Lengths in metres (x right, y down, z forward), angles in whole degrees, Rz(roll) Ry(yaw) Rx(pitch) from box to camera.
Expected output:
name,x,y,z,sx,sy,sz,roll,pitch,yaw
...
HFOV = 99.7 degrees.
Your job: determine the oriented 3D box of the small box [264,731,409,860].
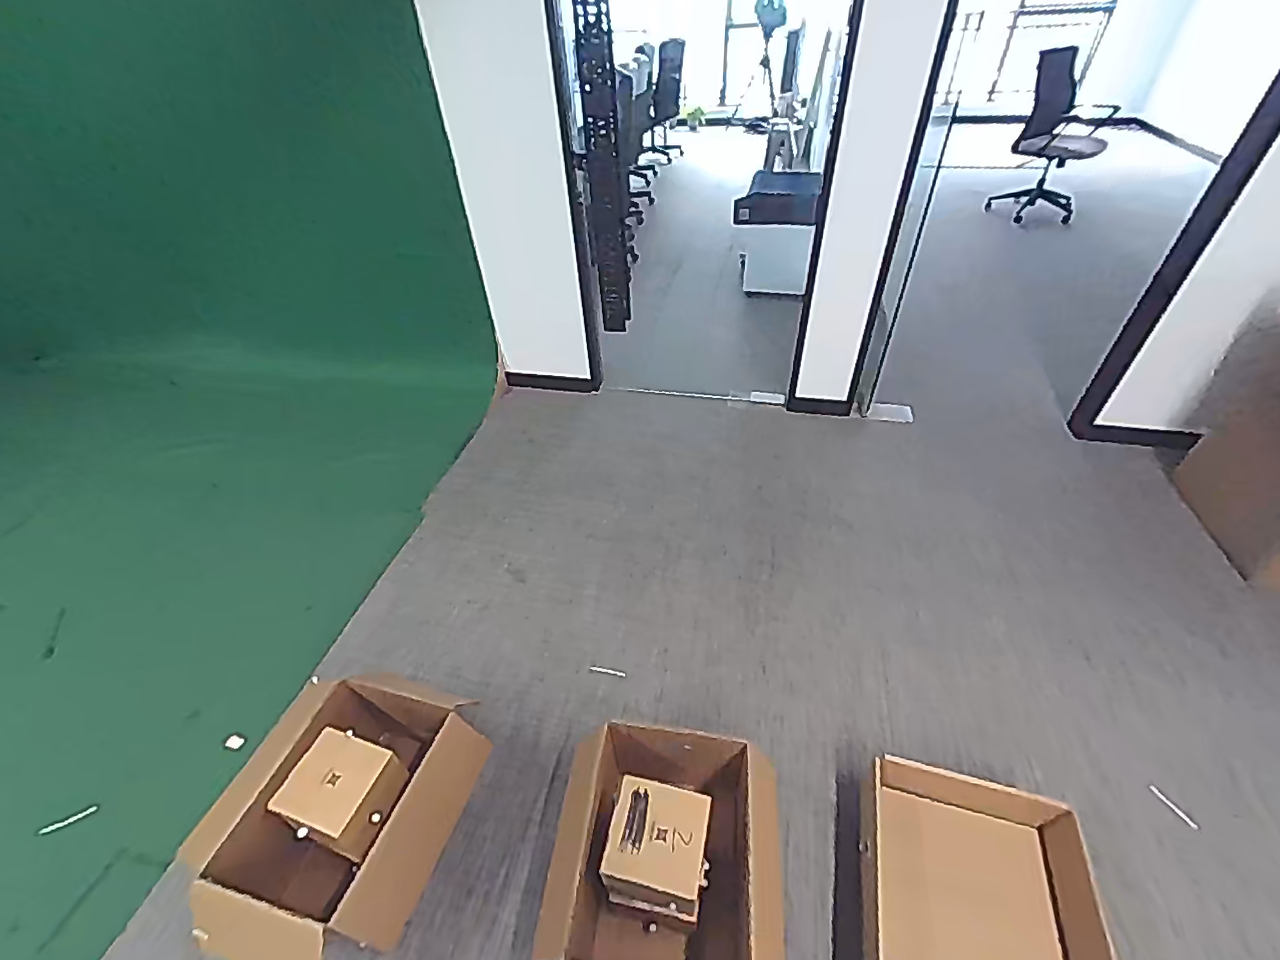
name,x,y,z,sx,sy,sz,roll,pitch,yaw
small box,-0.621,0.664,1.133,0.179,0.176,0.168,11,43,14
